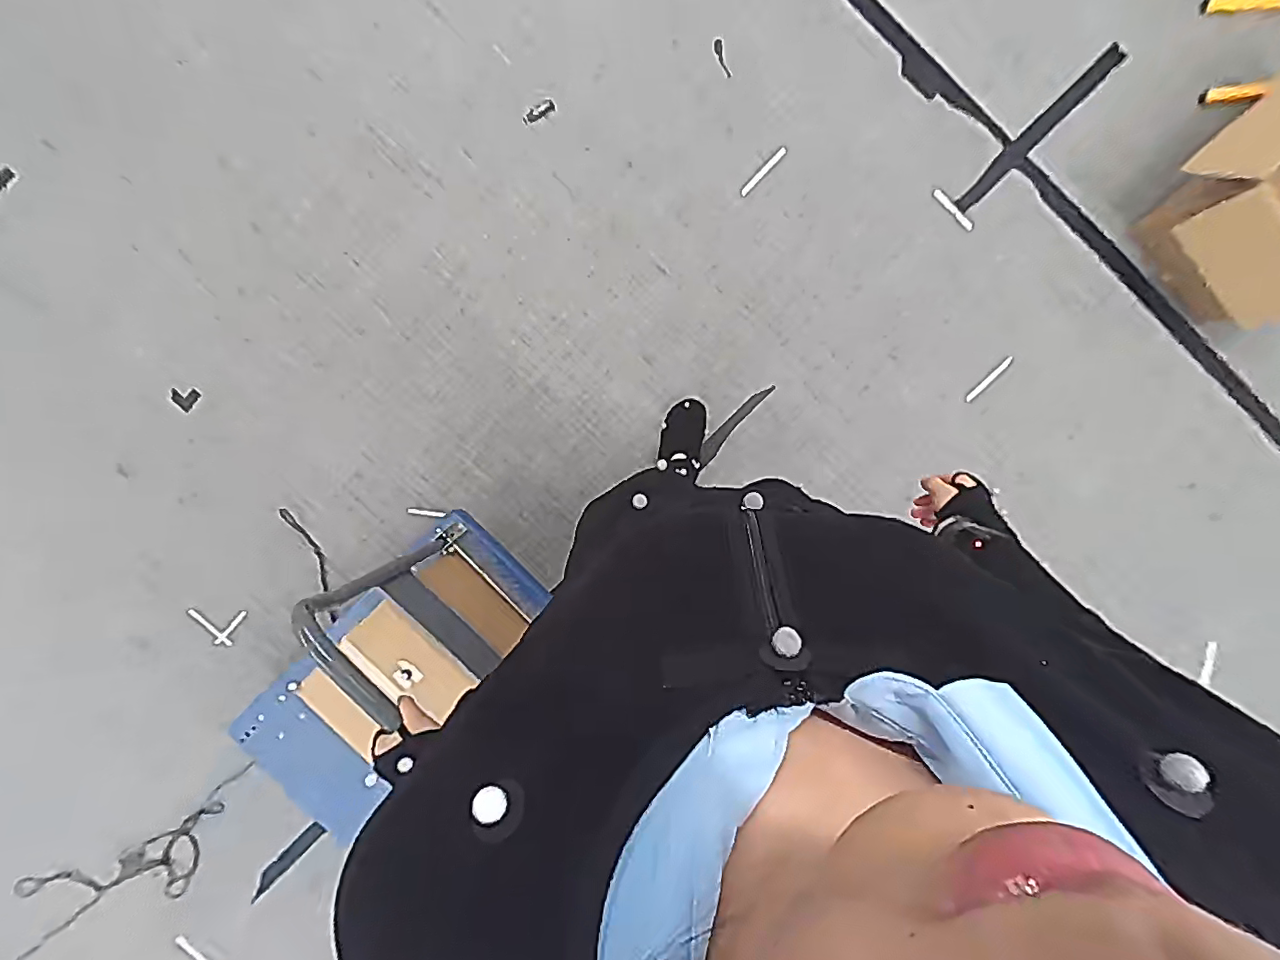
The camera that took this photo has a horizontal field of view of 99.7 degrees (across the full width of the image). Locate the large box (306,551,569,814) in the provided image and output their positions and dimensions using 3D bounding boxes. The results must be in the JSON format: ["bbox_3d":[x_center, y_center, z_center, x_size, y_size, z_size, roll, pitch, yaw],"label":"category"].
[{"bbox_3d":[-0.427,0.434,1.237,0.320,0.320,0.408,-44,93,5],"label":"large box"}]
